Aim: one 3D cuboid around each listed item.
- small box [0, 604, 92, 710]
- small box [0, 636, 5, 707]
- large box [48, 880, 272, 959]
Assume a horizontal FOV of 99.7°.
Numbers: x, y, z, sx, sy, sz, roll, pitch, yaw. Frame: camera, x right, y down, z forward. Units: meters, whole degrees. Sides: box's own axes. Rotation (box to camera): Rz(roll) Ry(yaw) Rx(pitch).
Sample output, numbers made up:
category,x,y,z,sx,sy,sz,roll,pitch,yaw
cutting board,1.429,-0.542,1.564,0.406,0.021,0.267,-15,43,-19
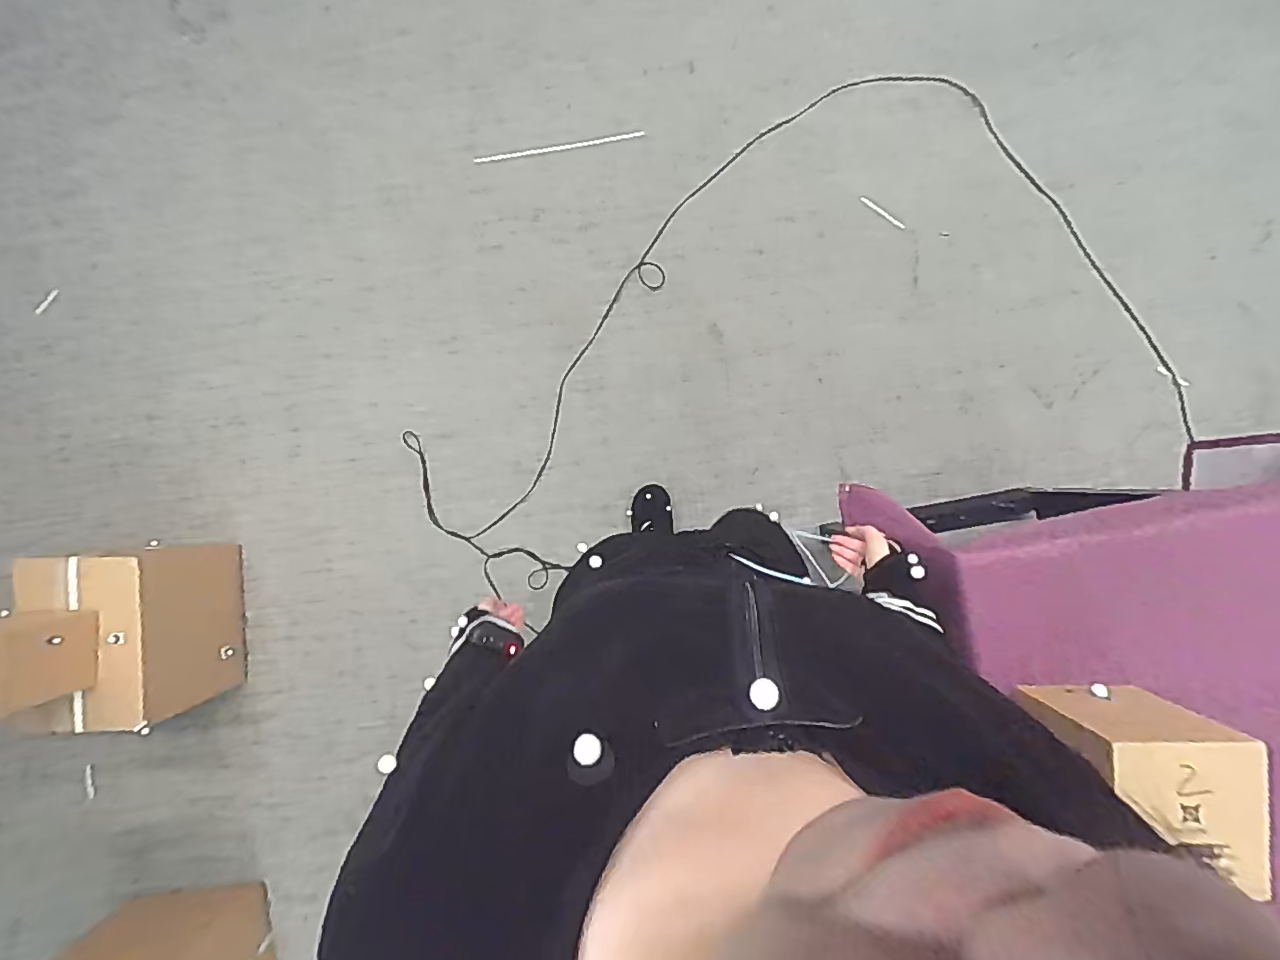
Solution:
category,x,y,z,sx,sy,sz,roll,pitch,yaw
small box,-1.343,0.371,1.165,0.168,0.176,0.179,2,90,4
small box,-1.350,0.369,1.001,0.168,0.176,0.179,3,91,5
large box,-1.270,1.321,1.409,0.408,0.320,0.320,-8,90,3
